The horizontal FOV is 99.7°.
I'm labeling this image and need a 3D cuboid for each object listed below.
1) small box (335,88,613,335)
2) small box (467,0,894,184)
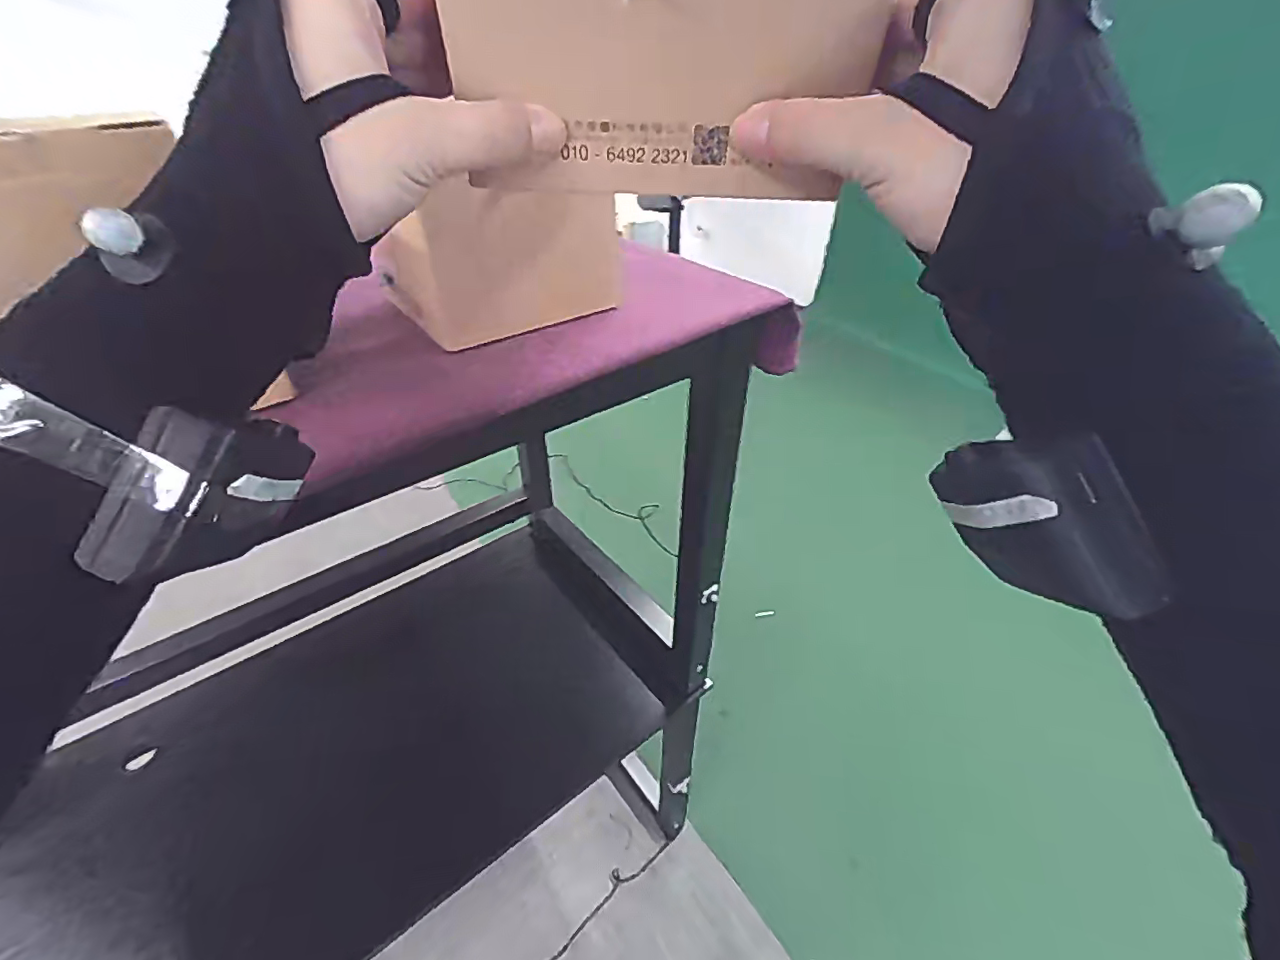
[{"bbox_3d":[-0.137,-0.245,0.486,0.179,0.176,0.168,-25,44,-29],"label":"small box"},{"bbox_3d":[0.017,-0.248,0.238,0.168,0.176,0.179,3,47,-1],"label":"small box"}]
